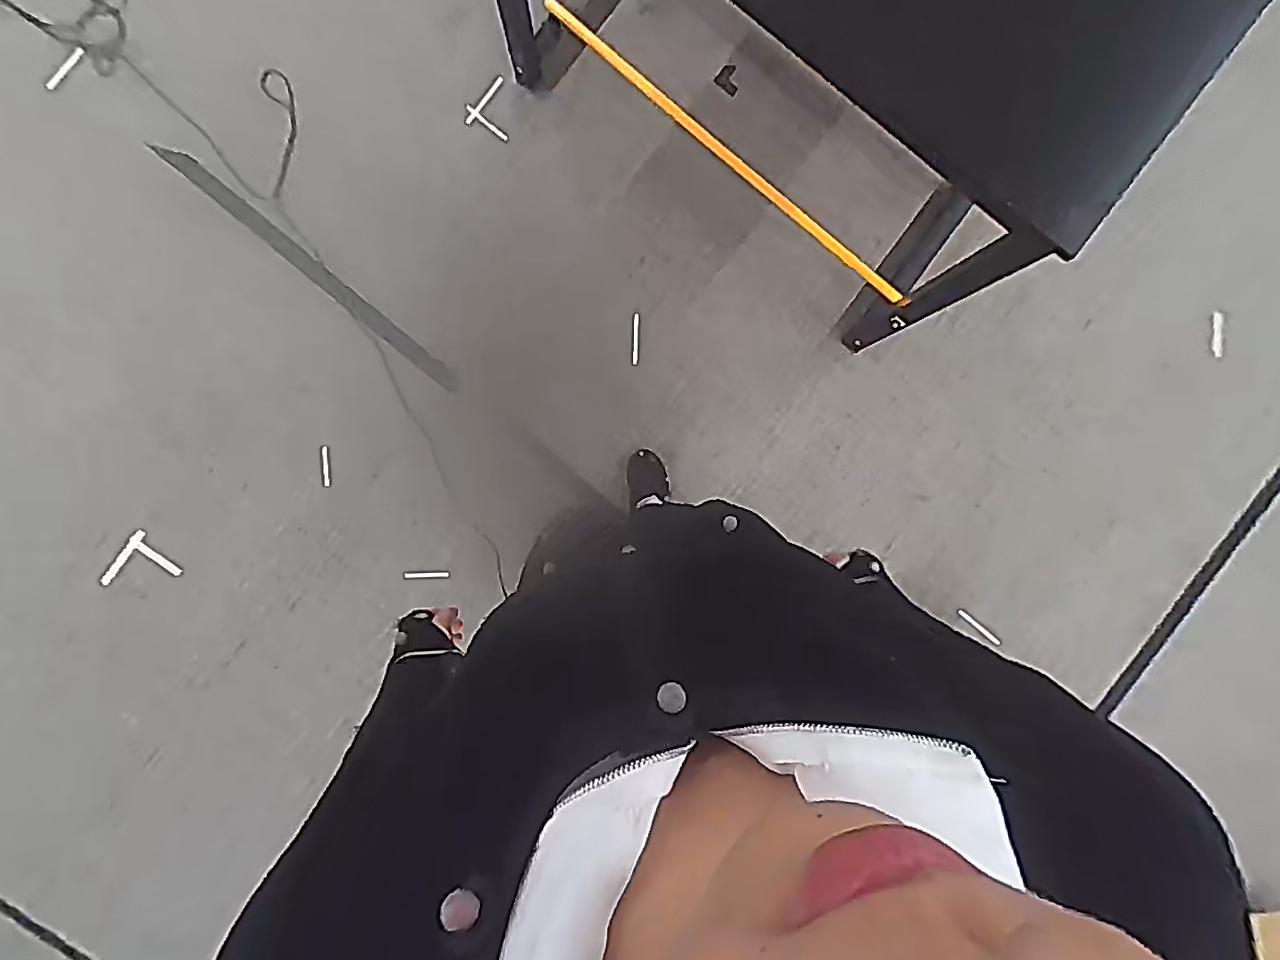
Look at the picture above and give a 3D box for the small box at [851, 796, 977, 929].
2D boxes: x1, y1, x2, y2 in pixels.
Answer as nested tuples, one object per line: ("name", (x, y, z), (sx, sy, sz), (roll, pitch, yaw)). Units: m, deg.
("small box", (0.643, 0.900, 1.295), (0.179, 0.176, 0.168), (31, 90, -2))
